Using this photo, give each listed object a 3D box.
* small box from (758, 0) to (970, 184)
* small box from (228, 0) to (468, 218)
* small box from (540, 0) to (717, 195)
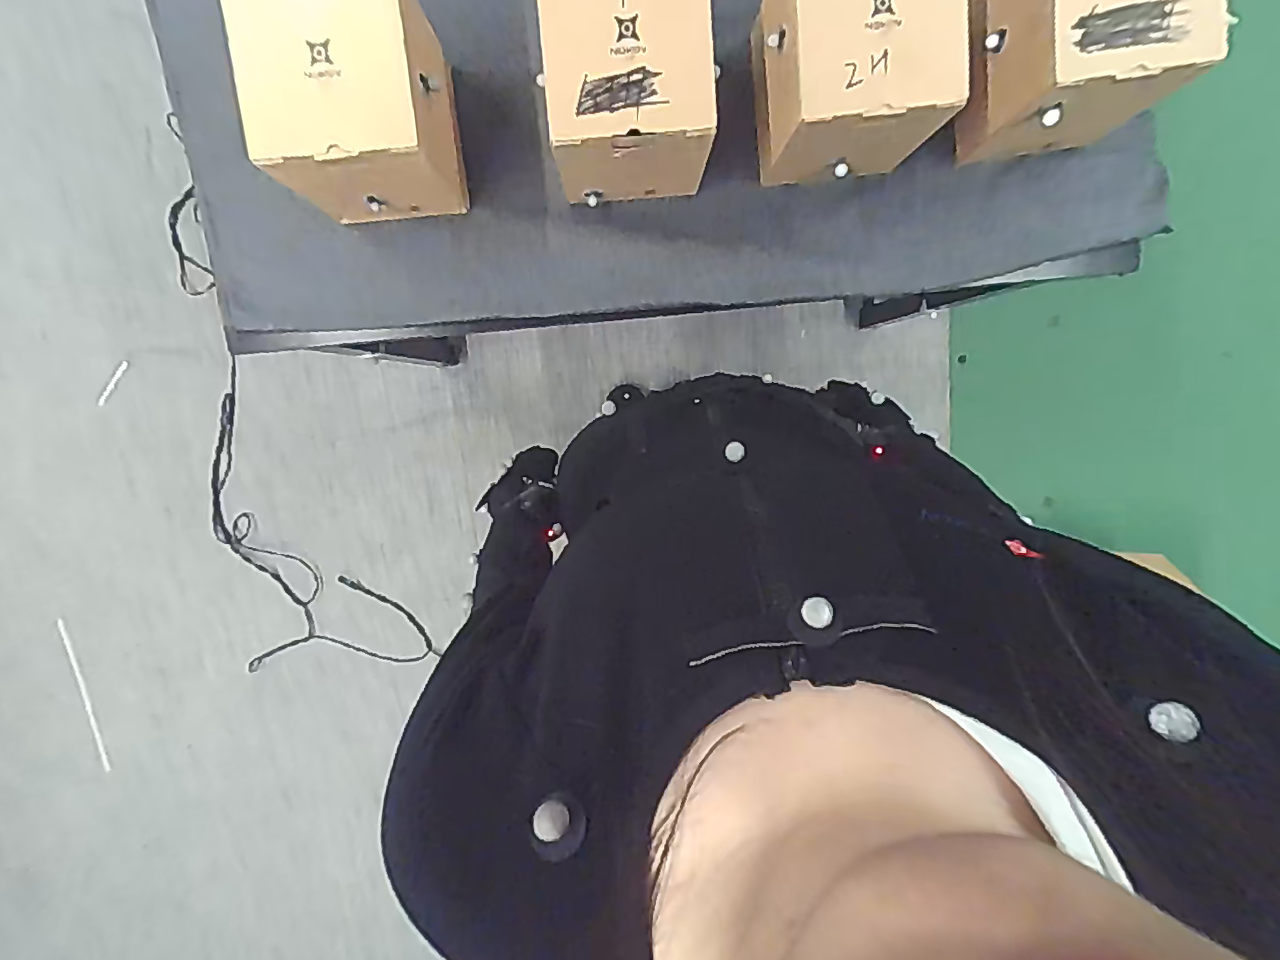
[{"bbox_3d":[0.230,-0.455,0.592,0.168,0.176,0.179,-6,99,1],"label":"small box"},{"bbox_3d":[-0.299,-0.409,0.588,0.168,0.176,0.179,-6,98,-1],"label":"small box"},{"bbox_3d":[-0.011,-0.430,0.591,0.168,0.176,0.179,-4,98,-1],"label":"small box"}]
